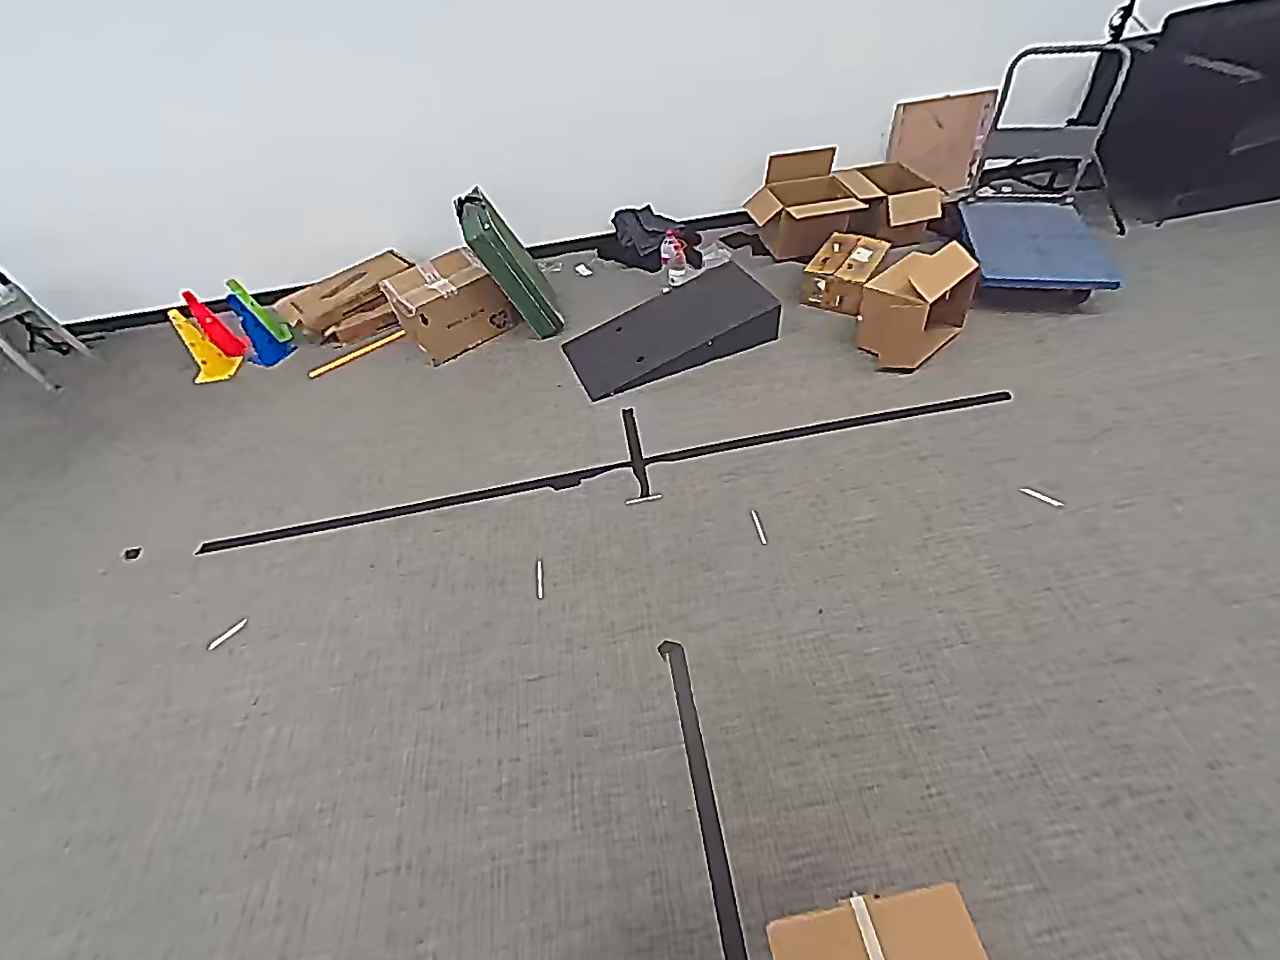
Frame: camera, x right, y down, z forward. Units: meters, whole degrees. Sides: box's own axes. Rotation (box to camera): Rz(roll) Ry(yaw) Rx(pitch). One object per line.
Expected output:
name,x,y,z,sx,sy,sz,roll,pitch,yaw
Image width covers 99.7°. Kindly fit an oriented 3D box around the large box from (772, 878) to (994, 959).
large box,0.424,0.915,0.860,0.320,0.320,0.408,-16,50,4
